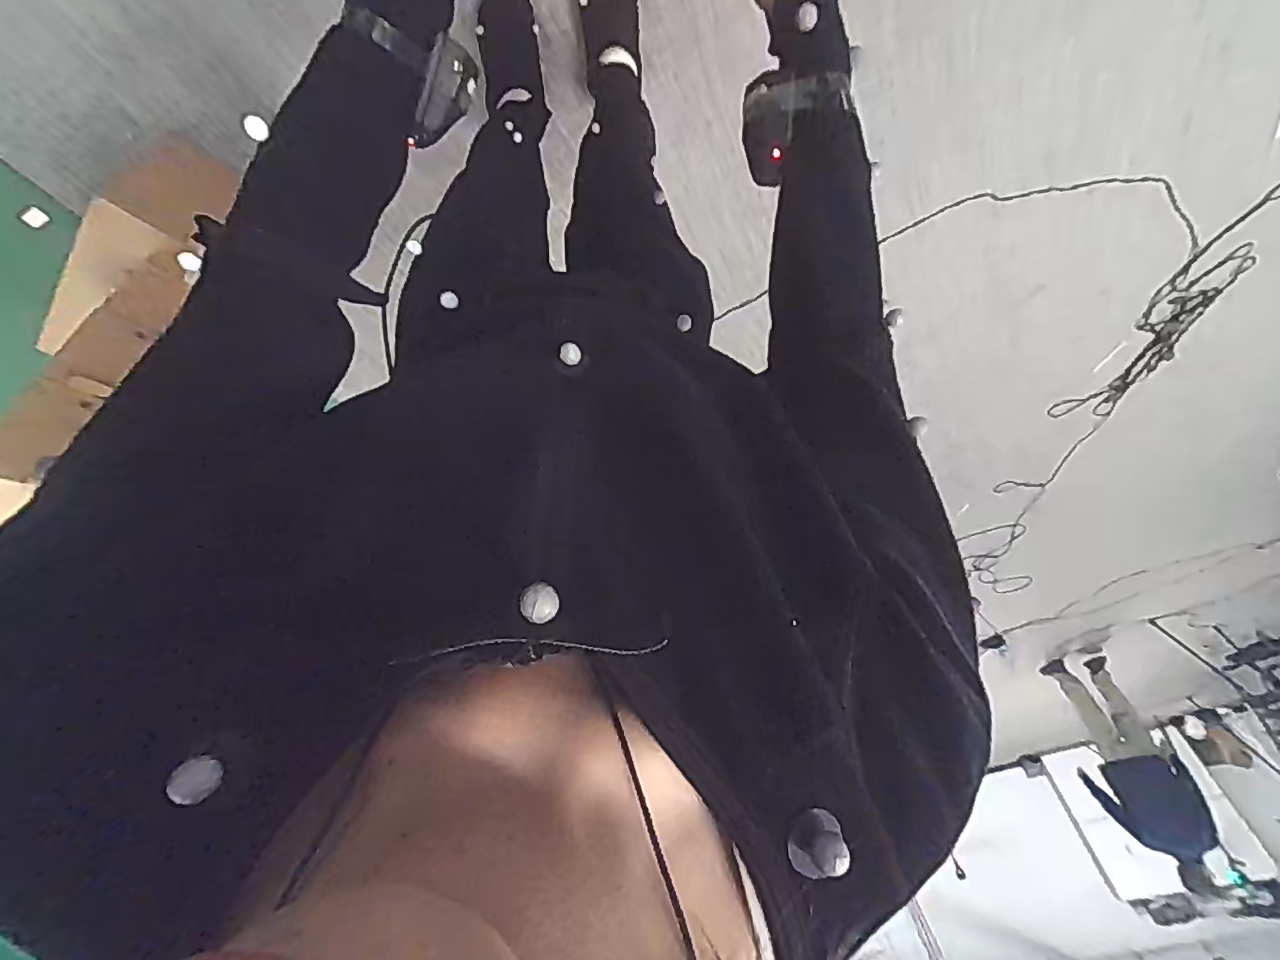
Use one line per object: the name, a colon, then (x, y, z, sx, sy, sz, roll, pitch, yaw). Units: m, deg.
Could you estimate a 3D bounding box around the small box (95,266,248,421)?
small box: (-0.852, -0.246, 0.973, 0.168, 0.176, 0.179, -36, 134, 25)
